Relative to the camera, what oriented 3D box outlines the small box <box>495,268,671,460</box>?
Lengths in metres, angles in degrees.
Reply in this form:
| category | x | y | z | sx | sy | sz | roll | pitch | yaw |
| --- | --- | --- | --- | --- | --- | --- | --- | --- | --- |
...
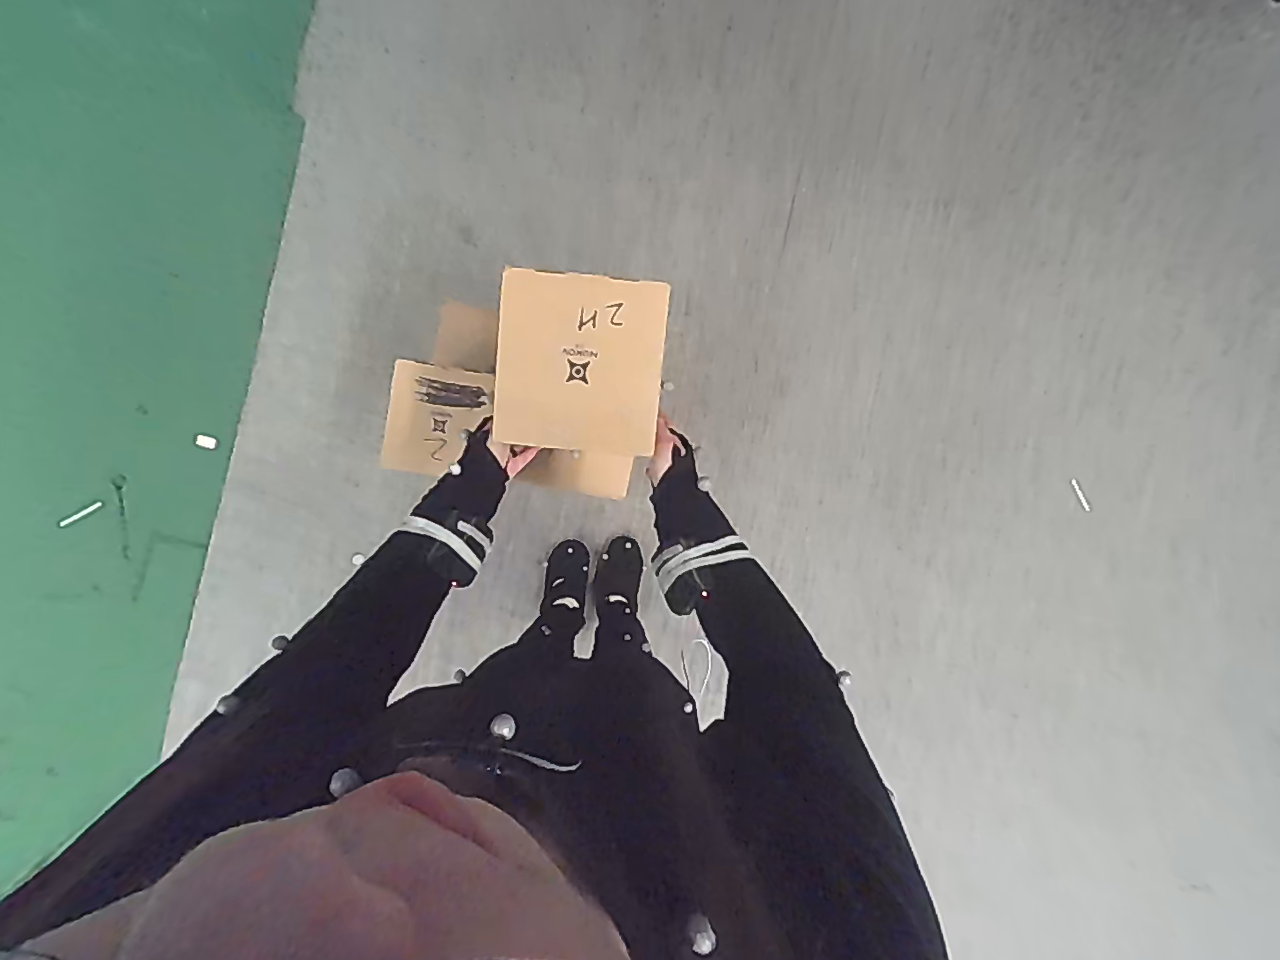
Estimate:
| category | x | y | z | sx | sy | sz | roll | pitch | yaw |
| --- | --- | --- | --- | --- | --- | --- | --- | --- | --- |
| small box | -0.059 | -0.125 | 0.626 | 0.168 | 0.176 | 0.179 | 6 | 96 | -1 |
